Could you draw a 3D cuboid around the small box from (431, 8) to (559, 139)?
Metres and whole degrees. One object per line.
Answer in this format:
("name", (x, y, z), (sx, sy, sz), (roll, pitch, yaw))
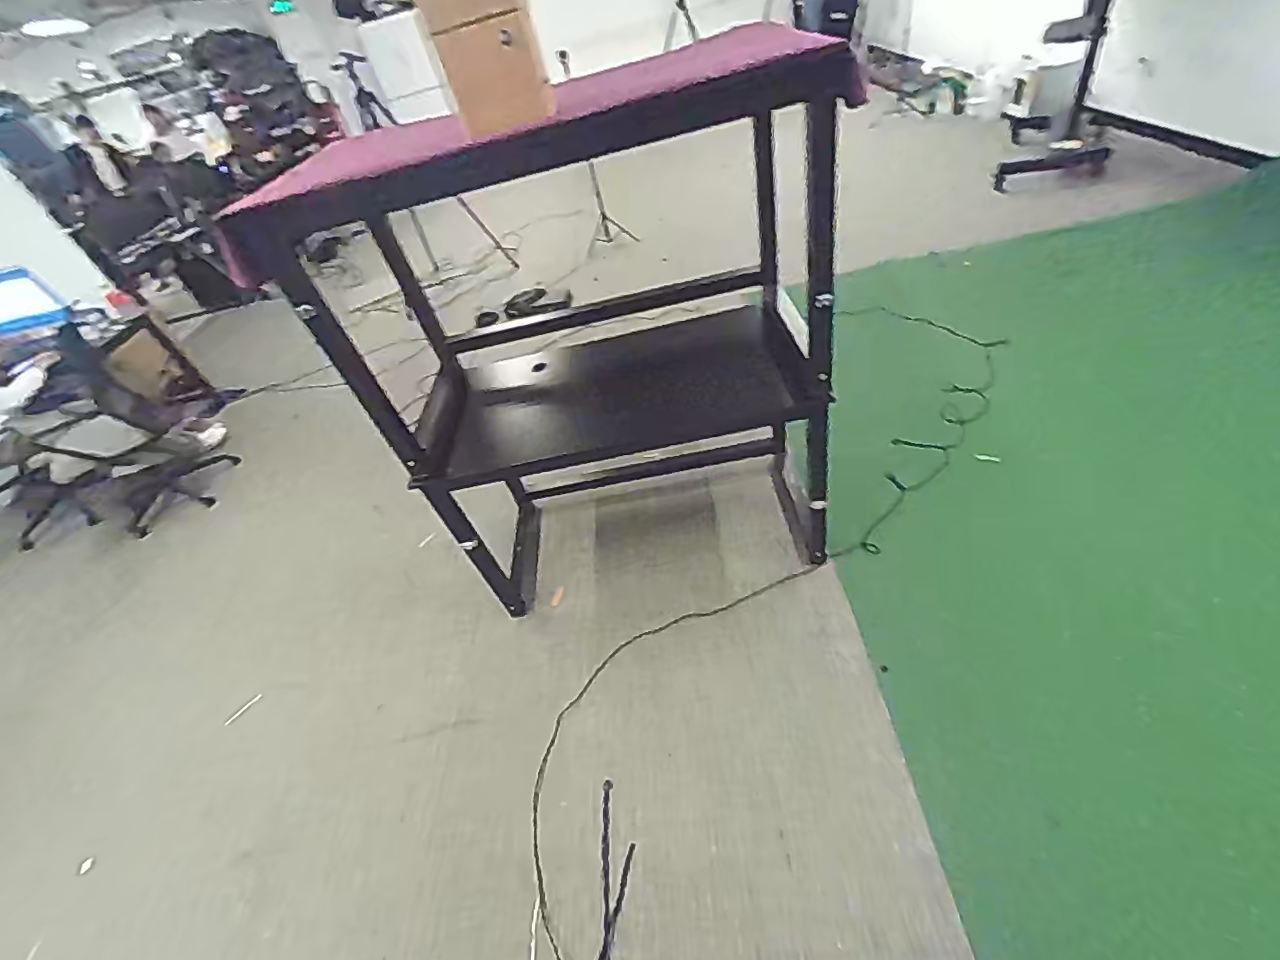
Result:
("small box", (-0.273, -0.794, 1.061), (0.179, 0.176, 0.168), (-11, 42, 6))

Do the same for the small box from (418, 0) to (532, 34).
("small box", (-0.308, -0.913, 0.952), (0.179, 0.176, 0.168), (-10, 42, 7))
